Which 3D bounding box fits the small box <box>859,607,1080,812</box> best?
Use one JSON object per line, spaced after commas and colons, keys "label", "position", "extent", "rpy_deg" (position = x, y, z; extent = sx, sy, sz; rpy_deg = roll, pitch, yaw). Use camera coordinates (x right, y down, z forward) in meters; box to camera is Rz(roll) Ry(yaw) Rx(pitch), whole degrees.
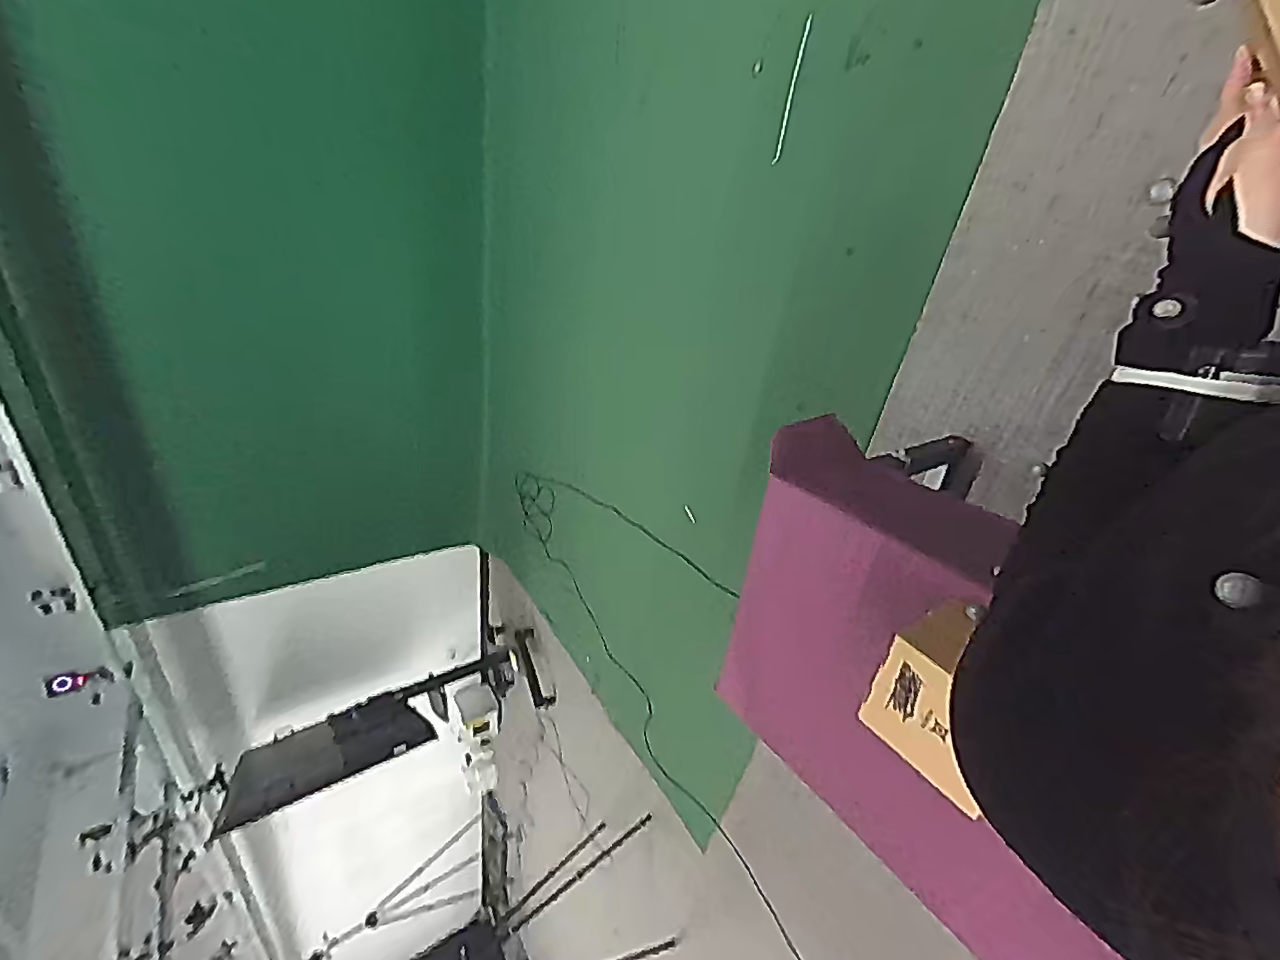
{"label": "small box", "position": [0.445, 0.296, 0.743], "extent": [0.179, 0.176, 0.168], "rpy_deg": [38, 130, 43]}
